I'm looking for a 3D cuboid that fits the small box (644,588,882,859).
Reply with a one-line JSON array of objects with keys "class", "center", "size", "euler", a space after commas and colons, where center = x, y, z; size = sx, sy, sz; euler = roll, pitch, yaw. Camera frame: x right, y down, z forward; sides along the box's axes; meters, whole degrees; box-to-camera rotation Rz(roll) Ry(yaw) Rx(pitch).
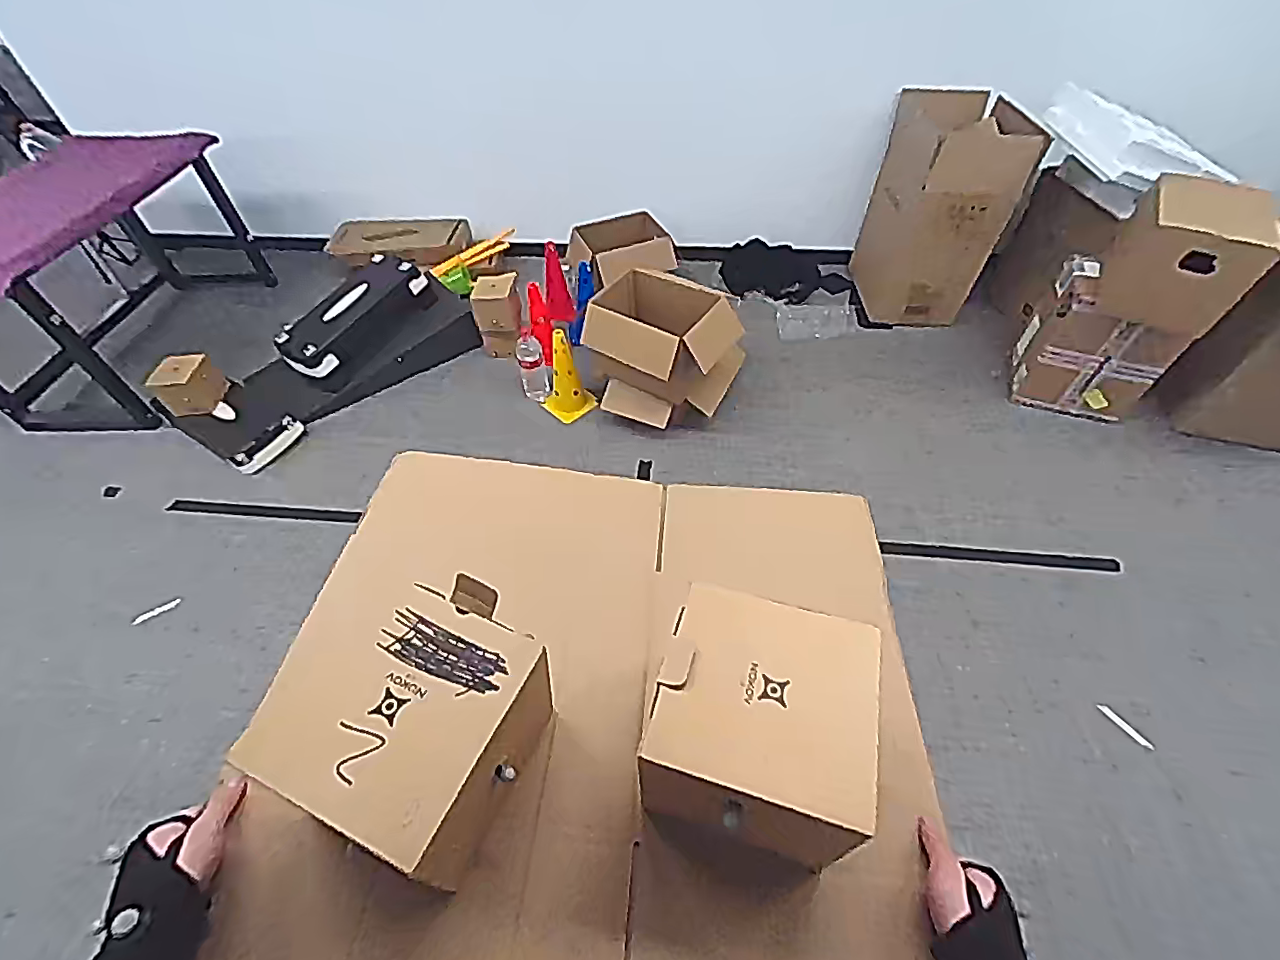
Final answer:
[{"class": "small box", "center": [0.113, 0.233, 0.513], "size": [0.179, 0.176, 0.168], "euler": [12, 49, 14]}]
